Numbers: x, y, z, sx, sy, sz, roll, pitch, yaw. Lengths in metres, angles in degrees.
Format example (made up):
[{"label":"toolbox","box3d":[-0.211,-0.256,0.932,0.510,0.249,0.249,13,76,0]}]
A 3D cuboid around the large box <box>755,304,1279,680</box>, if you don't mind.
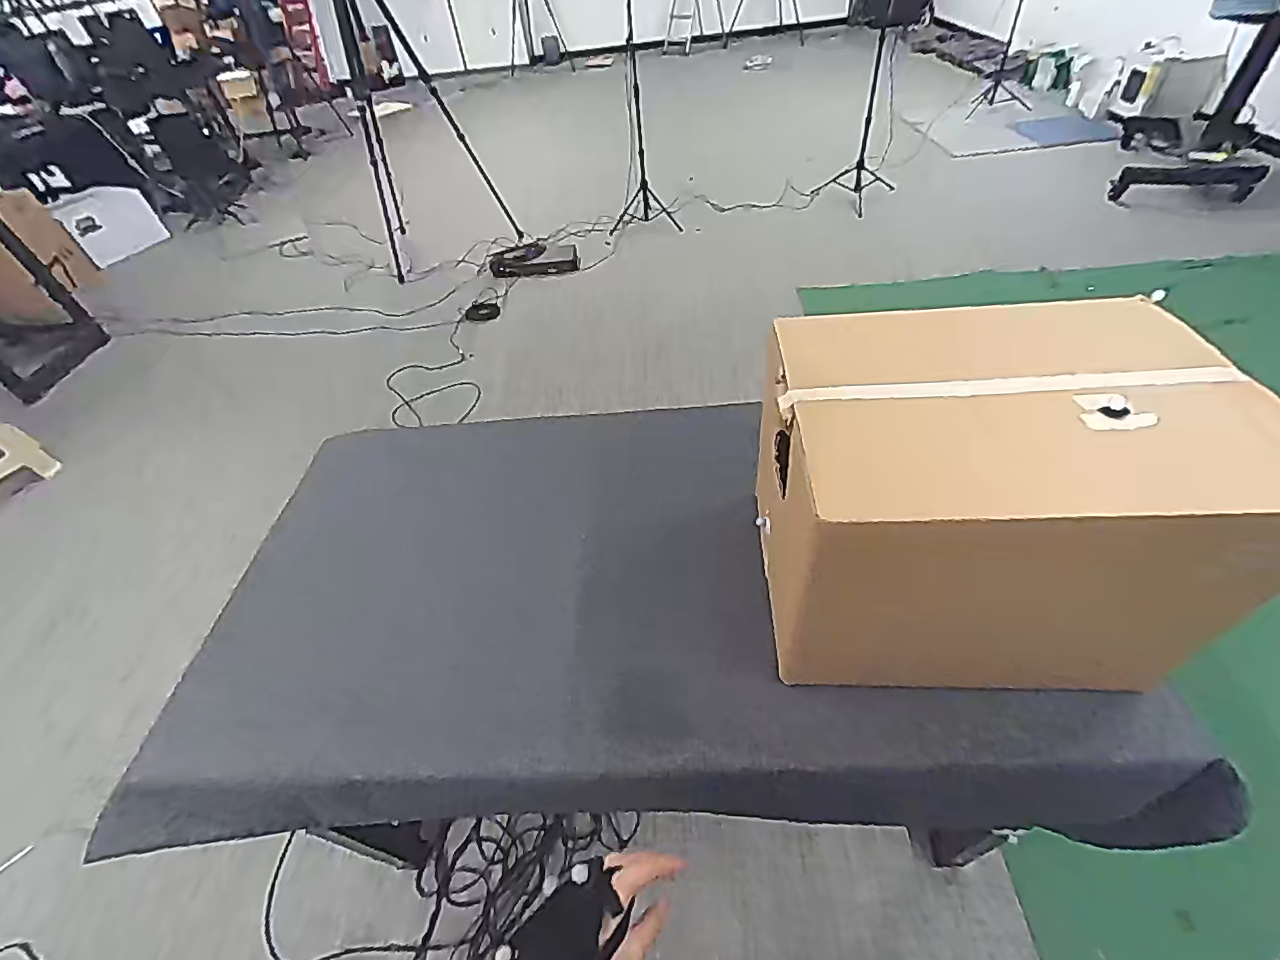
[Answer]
[{"label":"large box","box3d":[0.361,0.019,0.622,0.408,0.320,0.320,-1,47,5]}]
